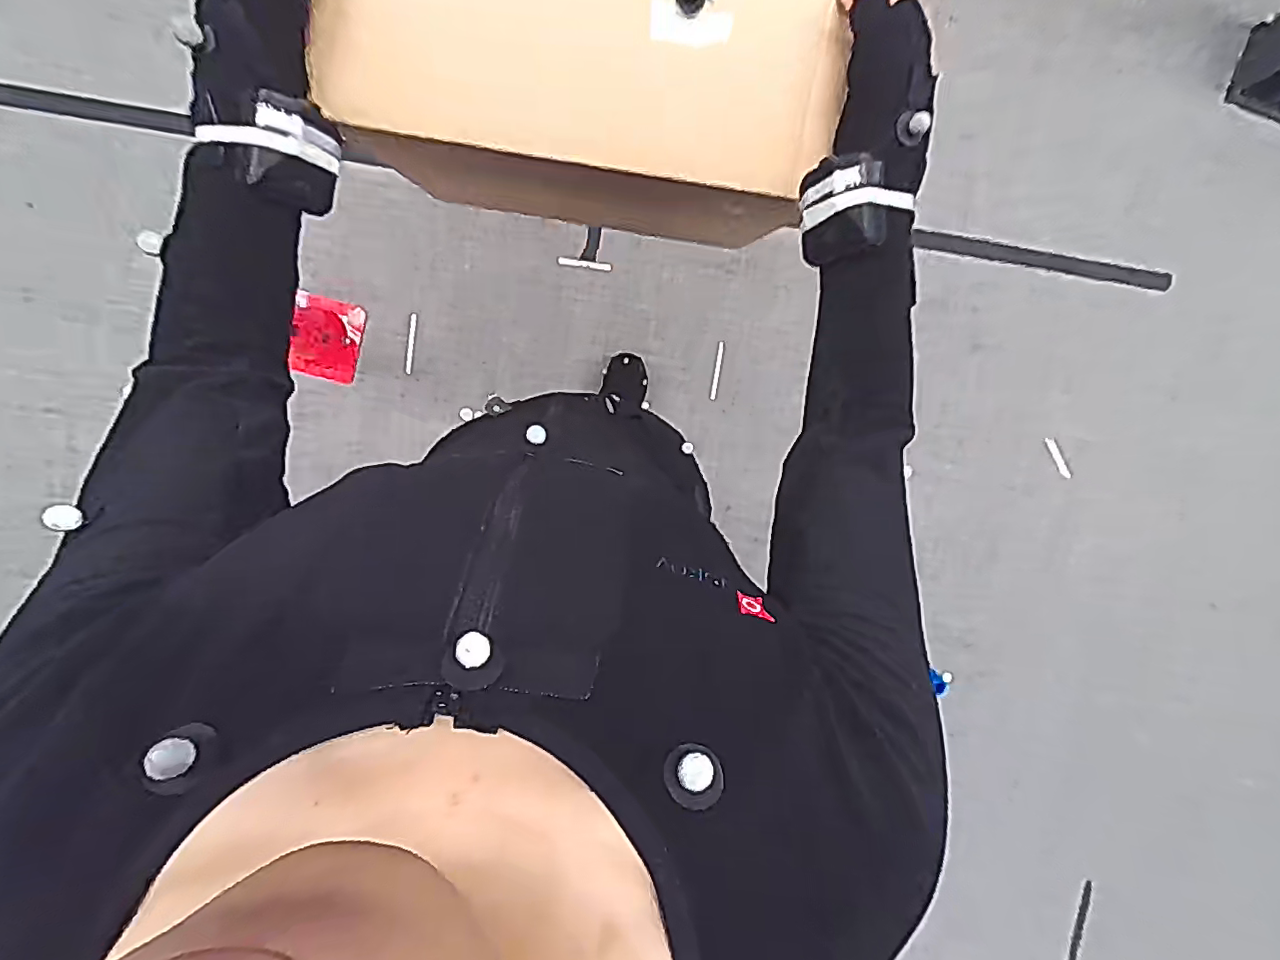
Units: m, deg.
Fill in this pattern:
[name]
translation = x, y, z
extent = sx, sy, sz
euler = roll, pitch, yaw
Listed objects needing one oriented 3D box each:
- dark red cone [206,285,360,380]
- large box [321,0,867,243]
[dark red cone]
translation = -0.794, -0.348, 1.180
extent = 0.201, 0.394, 0.202
euler = 14, 96, -6
[large box]
translation = -0.034, -0.440, 0.526
extent = 0.408, 0.320, 0.320
euler = 6, 106, -6
